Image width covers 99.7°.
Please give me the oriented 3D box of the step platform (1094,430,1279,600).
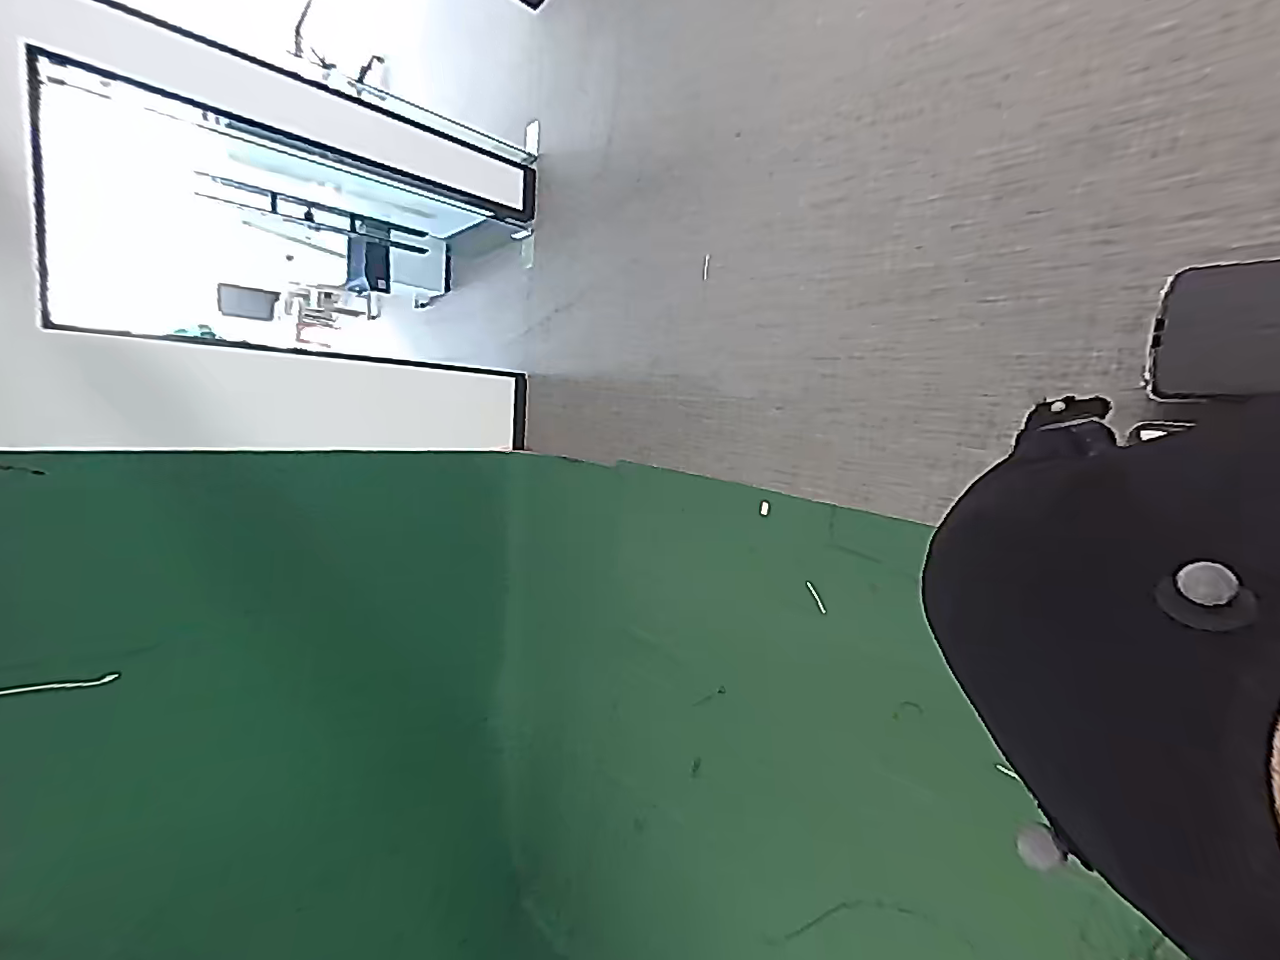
[{"bbox_3d":[1.172,0.088,0.849,0.684,0.204,0.286,12,100,46],"label":"step platform"}]
